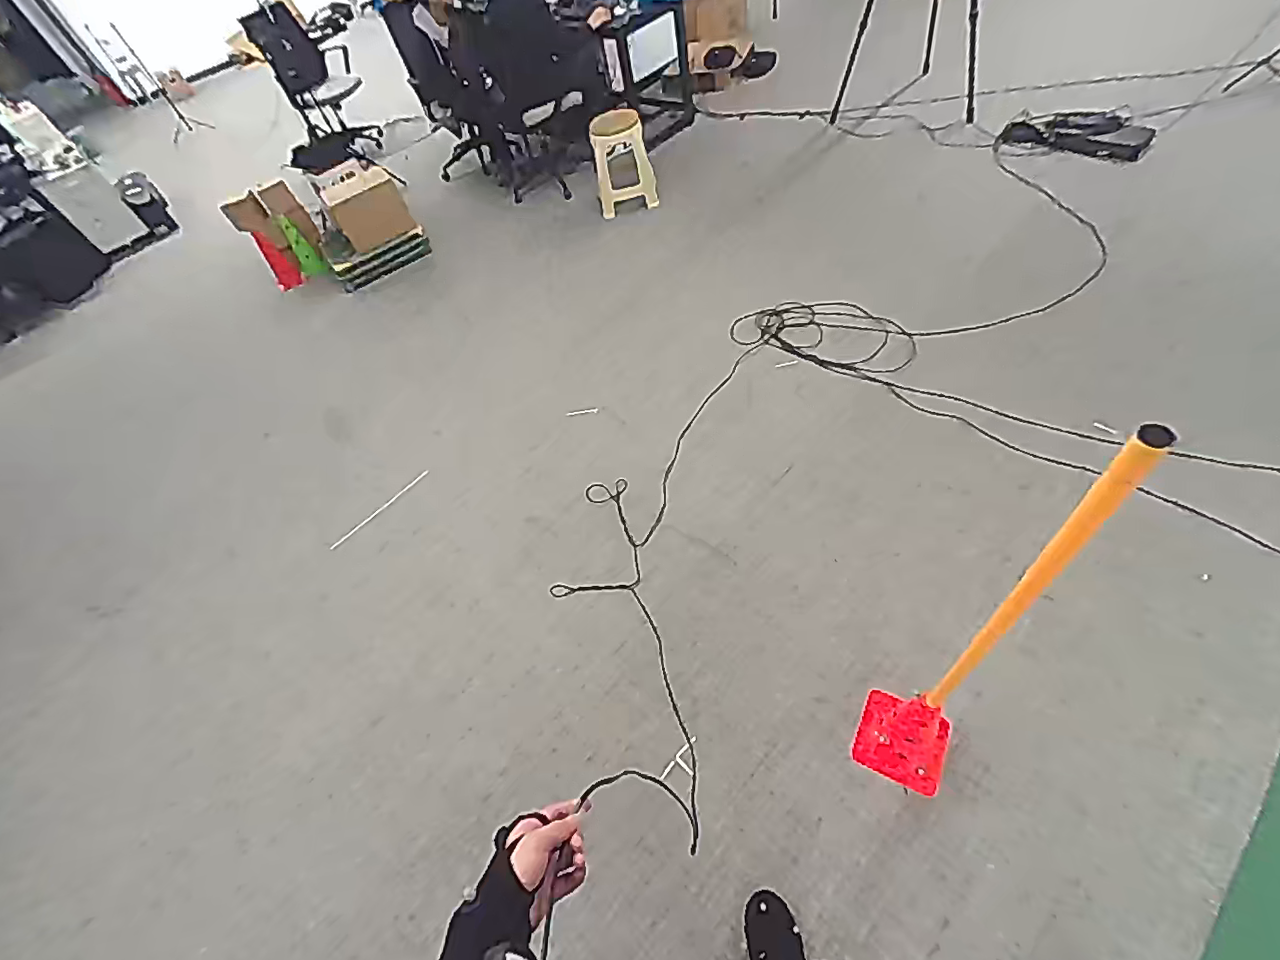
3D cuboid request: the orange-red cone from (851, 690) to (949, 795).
[{"bbox_3d":[0.625,0.551,1.231,0.198,0.360,0.199,20,59,26],"label":"orange-red cone"}]
